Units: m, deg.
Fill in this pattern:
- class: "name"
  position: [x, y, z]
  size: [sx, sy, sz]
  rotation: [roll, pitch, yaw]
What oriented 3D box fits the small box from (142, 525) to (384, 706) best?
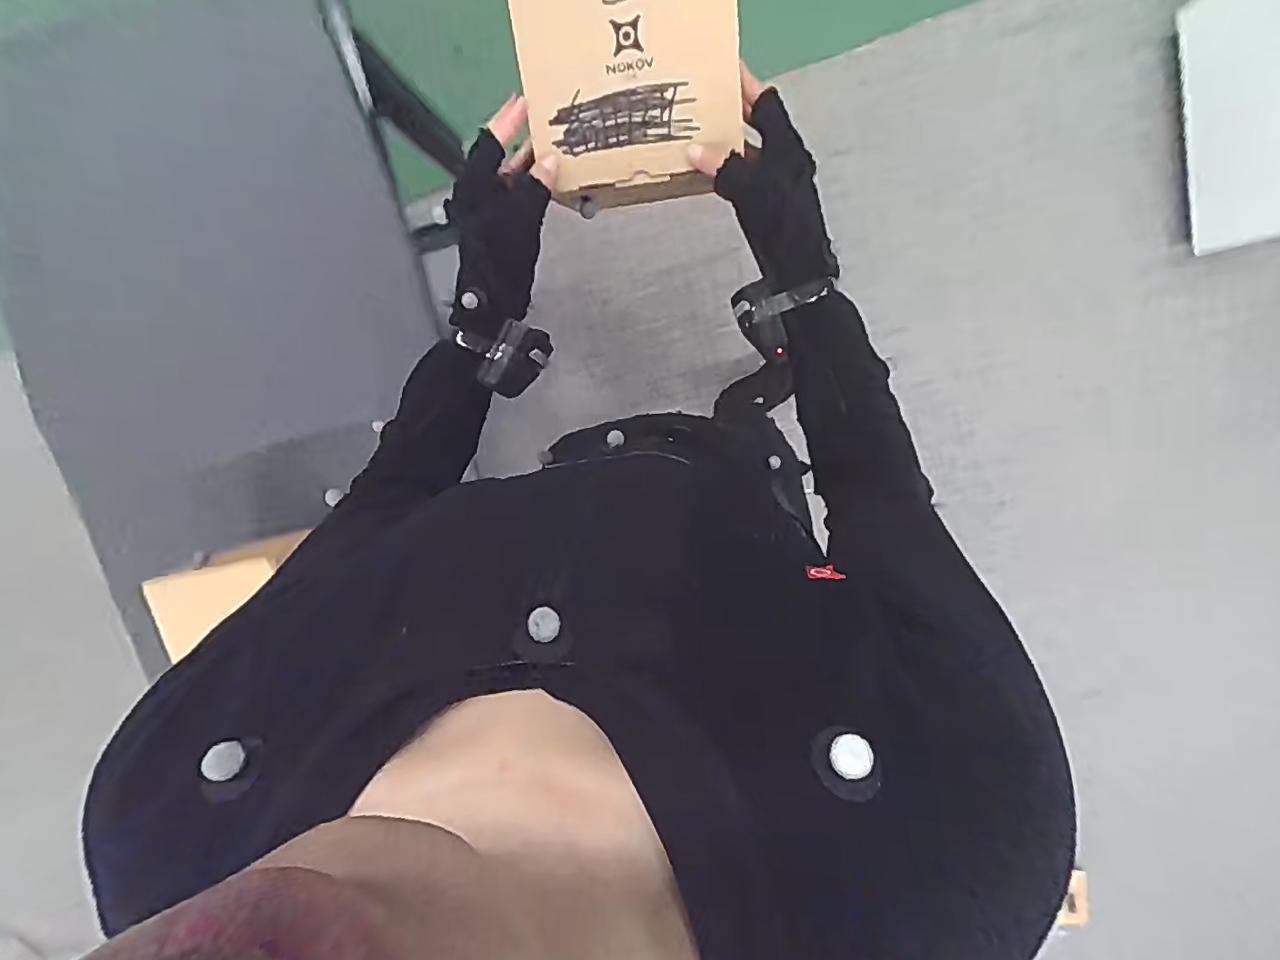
- class: "small box"
  position: [-0.482, 0.170, 0.718]
  size: [0.179, 0.176, 0.168]
  rotation: [-12, 99, 7]
